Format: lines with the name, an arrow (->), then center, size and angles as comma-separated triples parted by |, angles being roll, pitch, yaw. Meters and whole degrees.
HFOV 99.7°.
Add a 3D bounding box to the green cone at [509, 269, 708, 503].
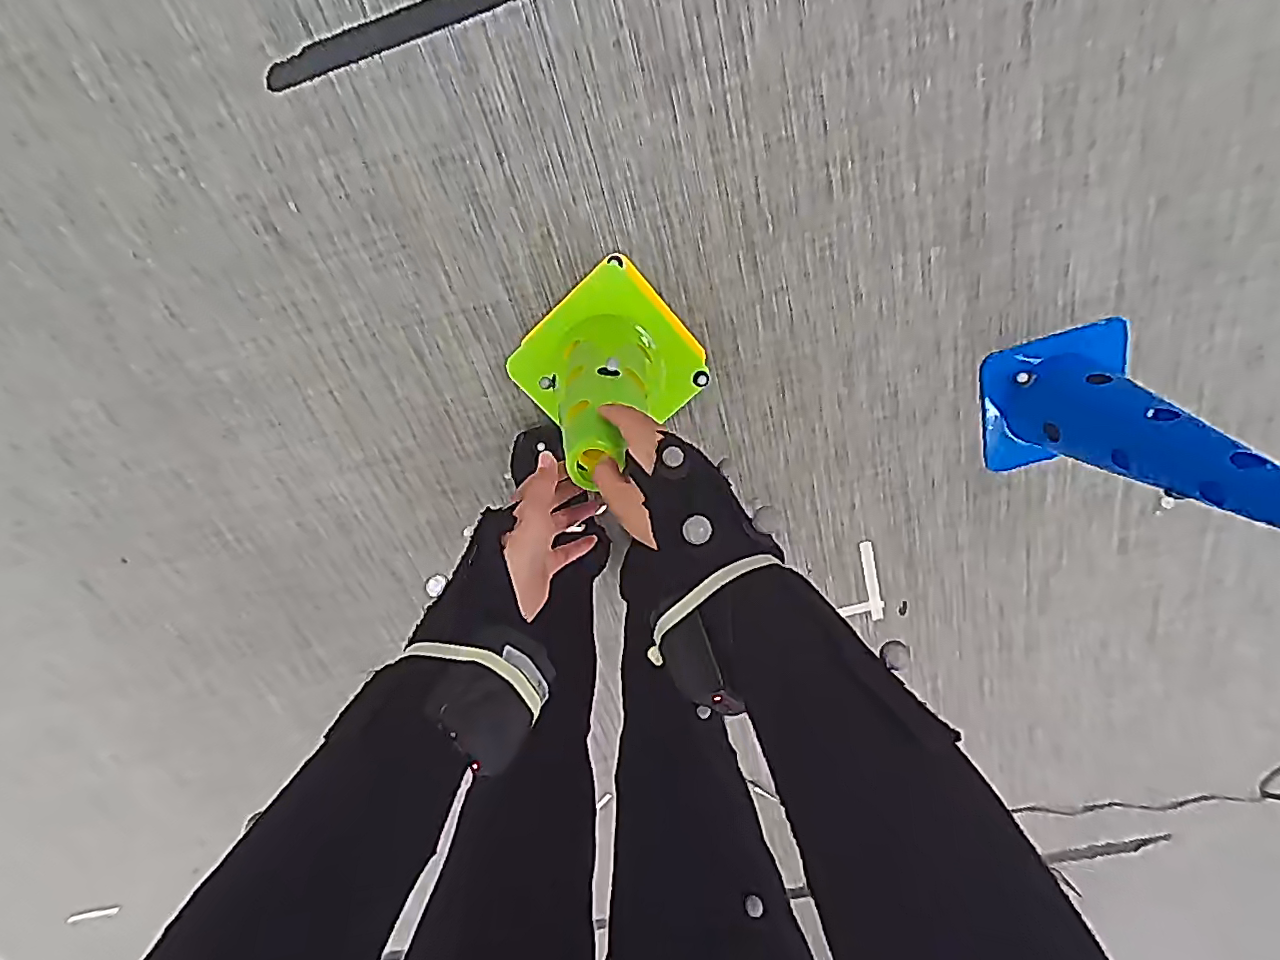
green cone -> -0.038, -0.073, 0.541 | 0.202, 0.368, 0.200 | -41, 106, 14
